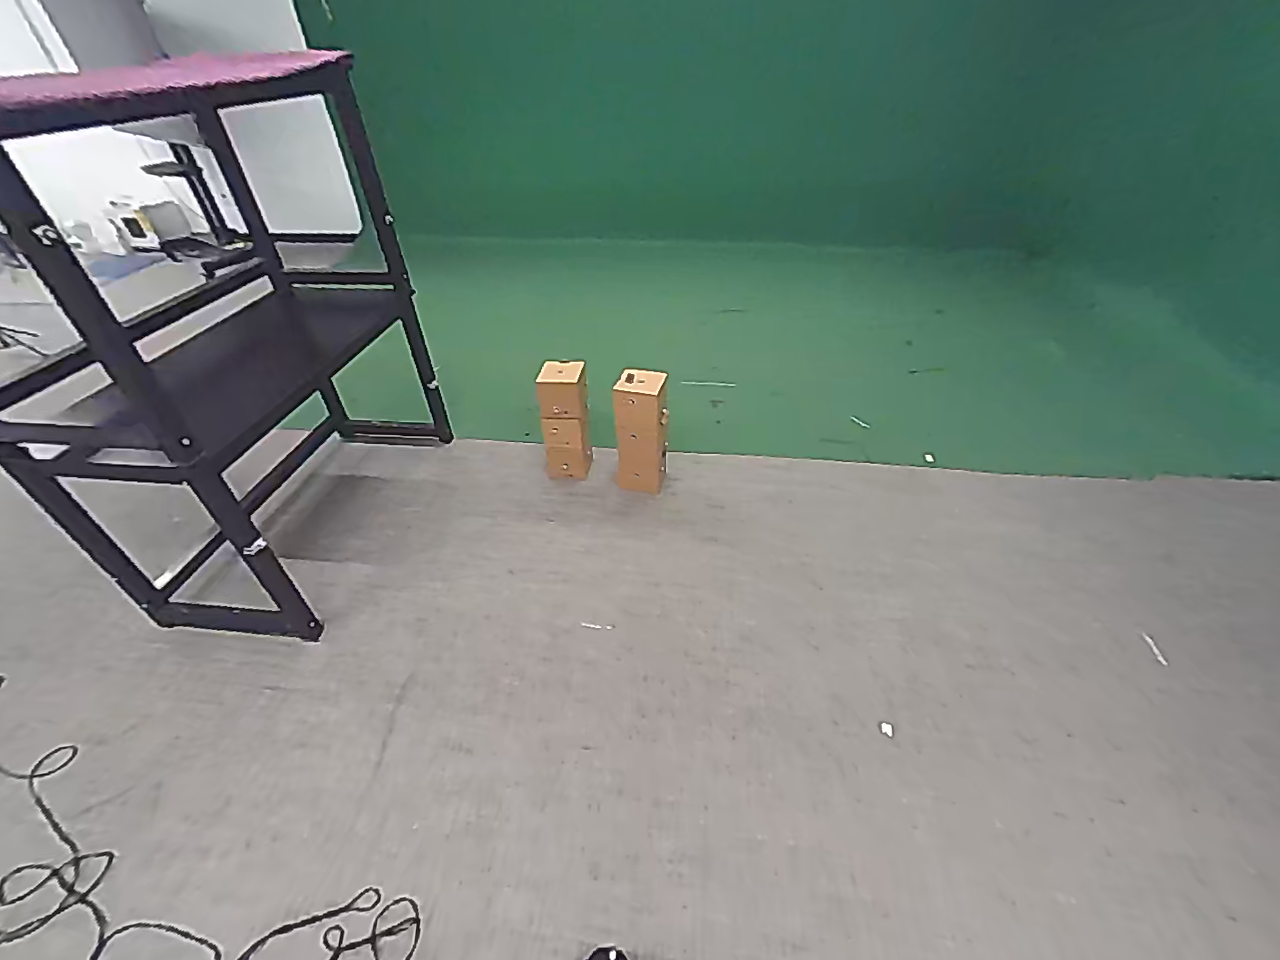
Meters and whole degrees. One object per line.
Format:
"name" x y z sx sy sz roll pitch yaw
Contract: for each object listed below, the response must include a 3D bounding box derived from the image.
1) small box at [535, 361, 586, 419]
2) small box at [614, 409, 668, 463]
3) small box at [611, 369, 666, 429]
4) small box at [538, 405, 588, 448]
"small box" -0.316 -0.366 2.187 0.168 0.176 0.179 0 40 5
"small box" 0.008 -0.189 2.210 0.179 0.176 0.168 11 42 15
"small box" -0.003 -0.314 2.106 0.179 0.176 0.168 9 41 13
"small box" -0.322 -0.249 2.302 0.168 0.176 0.179 3 39 6
